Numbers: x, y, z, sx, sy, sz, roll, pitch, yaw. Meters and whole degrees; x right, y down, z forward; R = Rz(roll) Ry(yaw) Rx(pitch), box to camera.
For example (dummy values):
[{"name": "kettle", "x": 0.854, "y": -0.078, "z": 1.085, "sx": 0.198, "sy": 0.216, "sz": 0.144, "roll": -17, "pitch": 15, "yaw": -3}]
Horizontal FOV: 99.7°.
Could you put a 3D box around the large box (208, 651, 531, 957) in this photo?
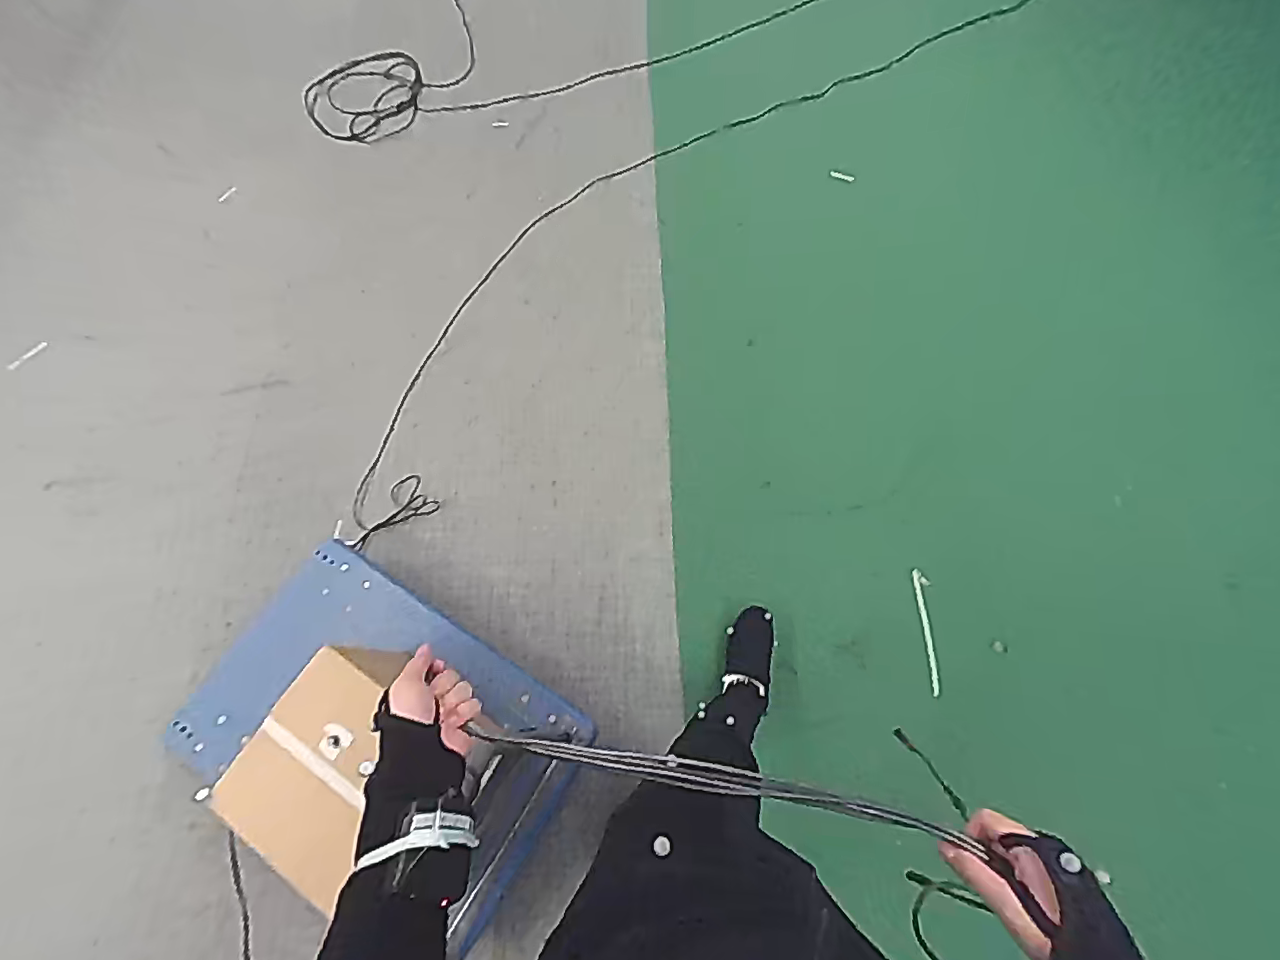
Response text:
[{"name": "large box", "x": -0.492, "y": 0.586, "z": 1.066, "sx": 0.408, "sy": 0.320, "sz": 0.320, "roll": 29, "pitch": 73, "yaw": 14}]
